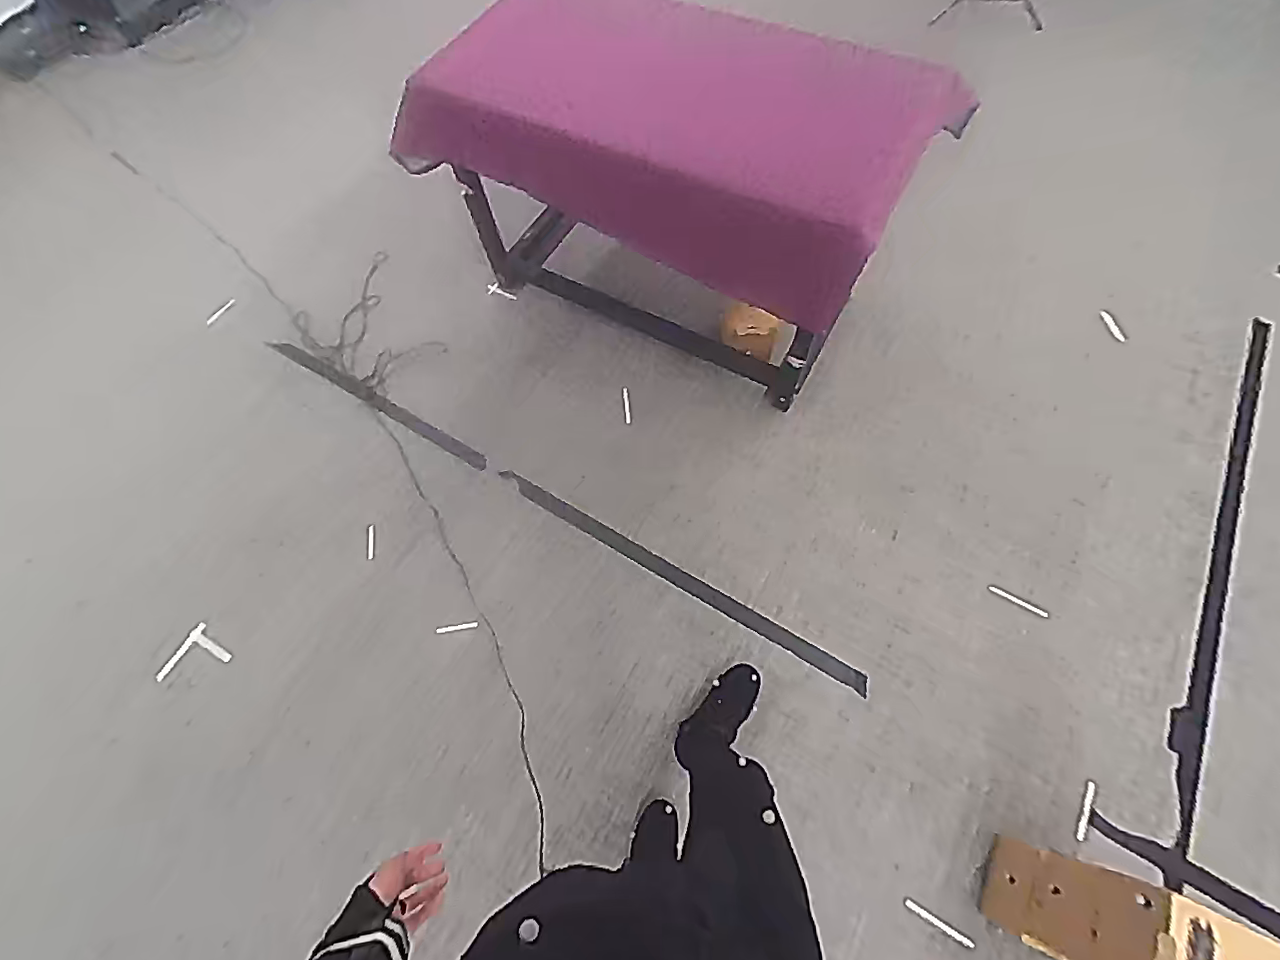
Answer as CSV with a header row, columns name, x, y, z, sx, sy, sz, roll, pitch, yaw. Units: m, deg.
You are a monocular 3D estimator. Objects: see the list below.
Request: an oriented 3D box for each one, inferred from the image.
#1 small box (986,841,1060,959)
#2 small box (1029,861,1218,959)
name,x,y,z,sx,sy,sz,roll,pitch,yaw
small box,0.867,0.903,1.136,0.168,0.176,0.179,26,70,15
small box,0.868,0.840,0.986,0.179,0.176,0.168,30,72,17
